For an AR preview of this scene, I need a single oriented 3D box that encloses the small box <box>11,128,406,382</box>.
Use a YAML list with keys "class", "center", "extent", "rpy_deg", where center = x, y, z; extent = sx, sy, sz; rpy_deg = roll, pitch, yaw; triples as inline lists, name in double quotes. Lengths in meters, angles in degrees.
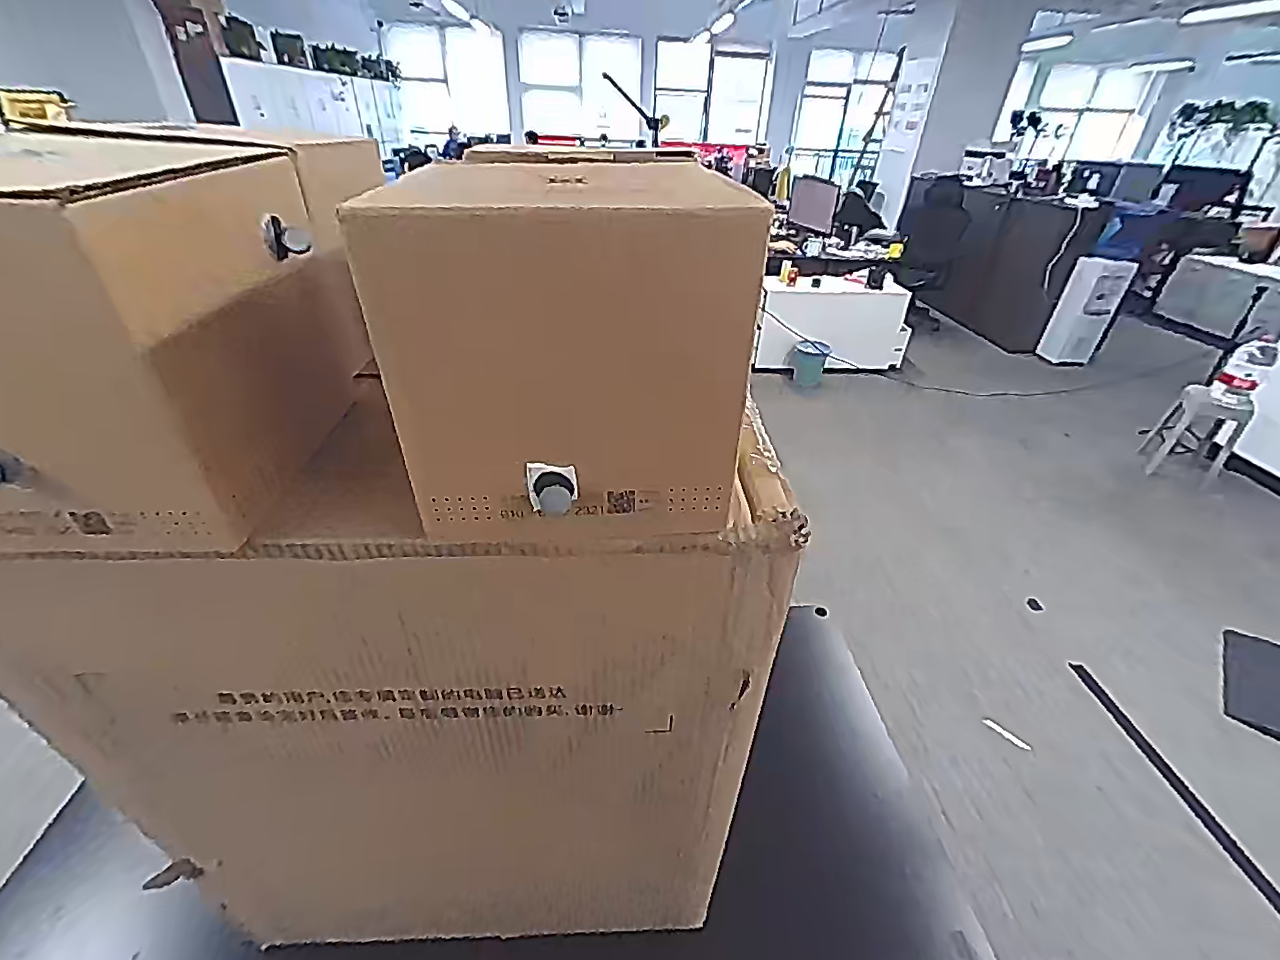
- class: "small box"
  center: [-0.322, -0.191, 0.456]
  extent: [0.179, 0.176, 0.168]
  rpy_deg: [1, 33, -4]
